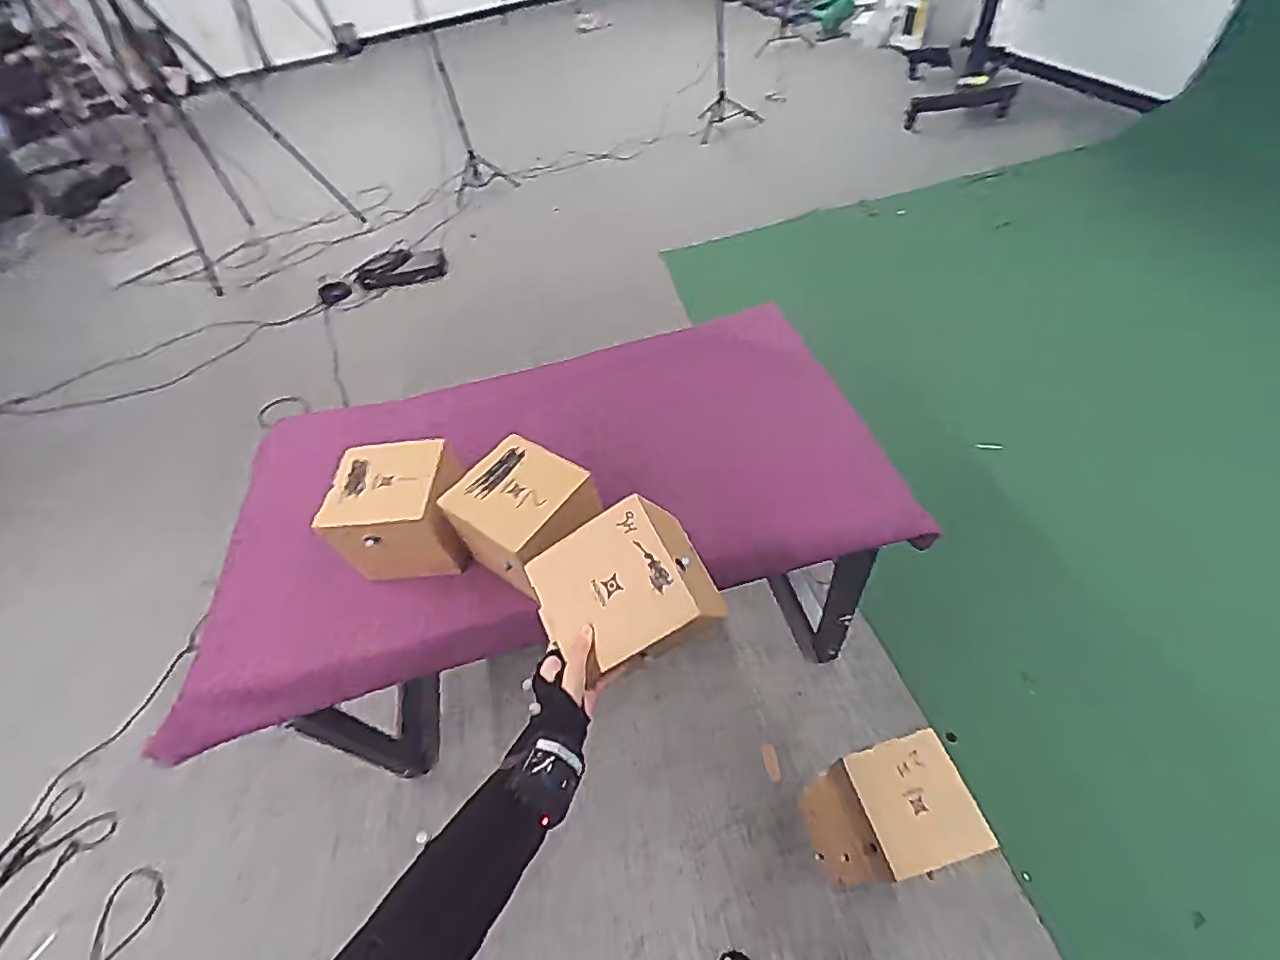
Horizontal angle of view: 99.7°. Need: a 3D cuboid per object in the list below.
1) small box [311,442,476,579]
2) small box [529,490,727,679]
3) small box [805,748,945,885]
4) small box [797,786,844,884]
[{"bbox_3d":[-0.401,0.057,0.916,0.179,0.176,0.168,-5,51,4],"label":"small box"},{"bbox_3d":[-0.008,0.141,0.713,0.179,0.176,0.168,-34,68,10],"label":"small box"},{"bbox_3d":[0.435,0.646,1.036,0.168,0.176,0.179,-16,52,-5],"label":"small box"},{"bbox_3d":[0.449,0.747,1.162,0.179,0.176,0.168,-14,51,-3],"label":"small box"}]
